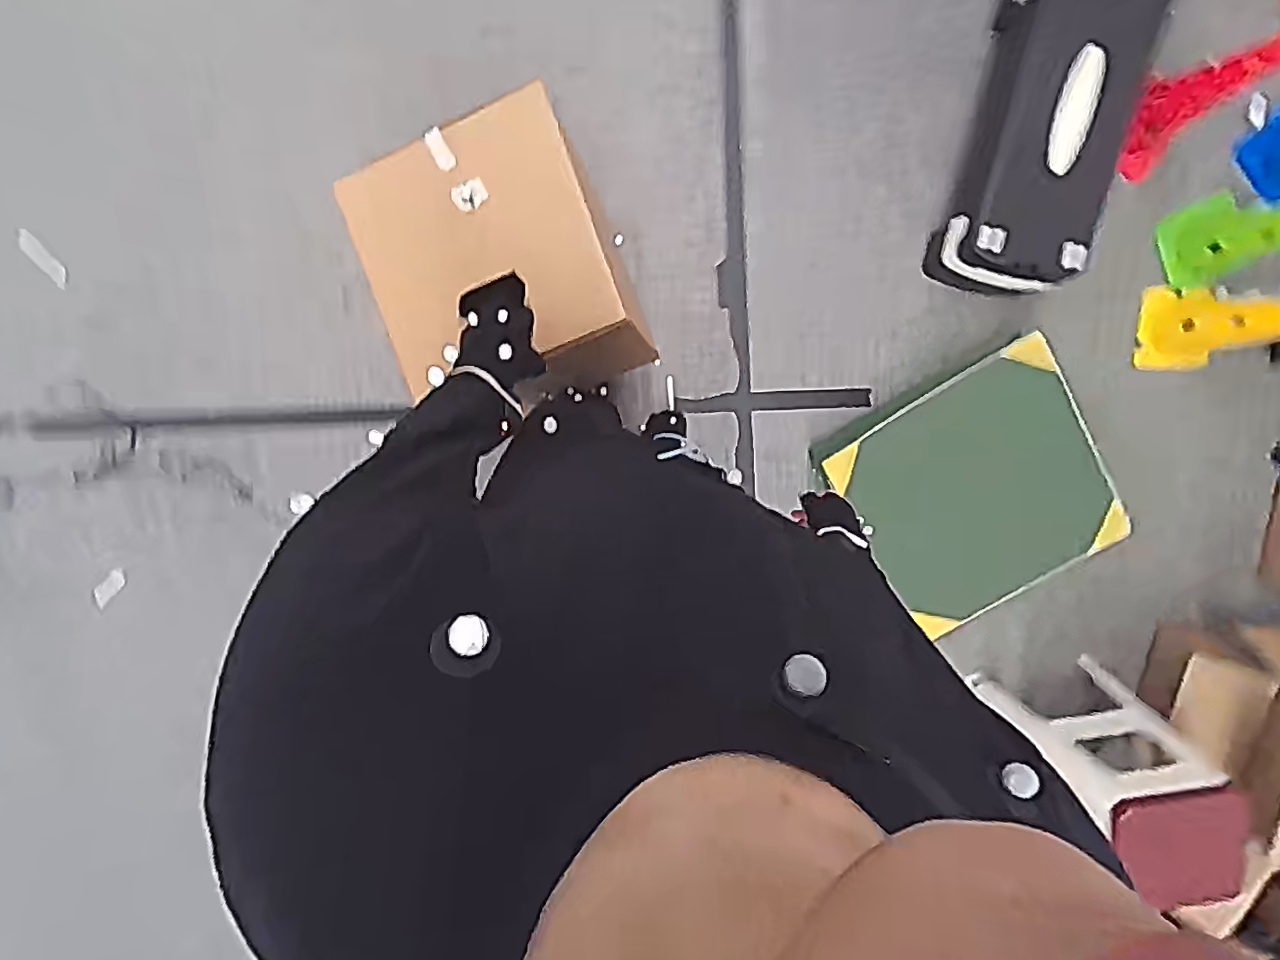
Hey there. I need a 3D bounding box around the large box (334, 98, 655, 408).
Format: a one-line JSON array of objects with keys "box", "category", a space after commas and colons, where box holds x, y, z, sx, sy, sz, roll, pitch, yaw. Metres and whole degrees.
[{"box": [-0.195, -0.317, 0.897, 0.320, 0.408, 0.320, -19, 94, 10], "category": "large box"}]
